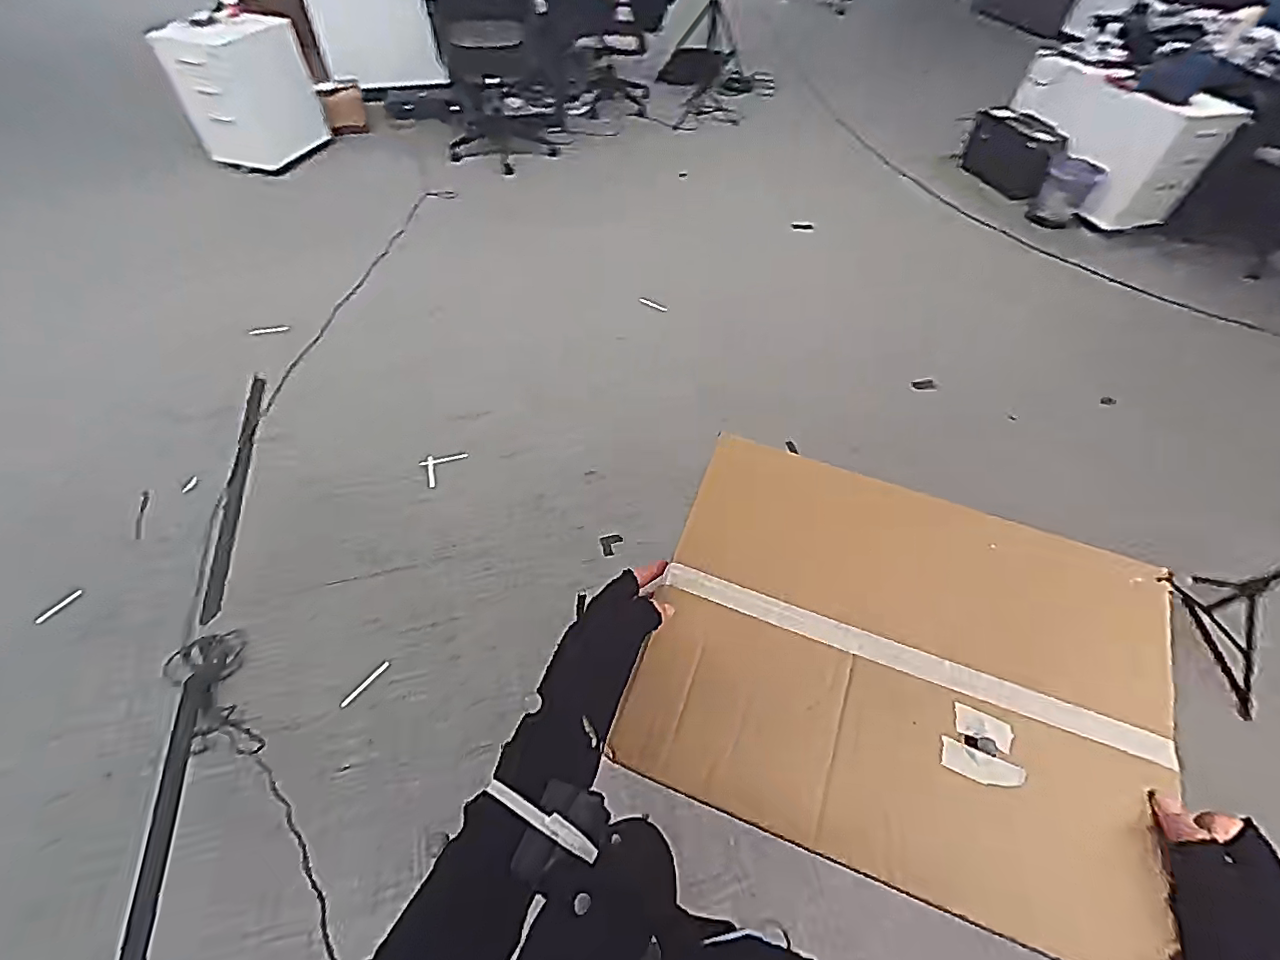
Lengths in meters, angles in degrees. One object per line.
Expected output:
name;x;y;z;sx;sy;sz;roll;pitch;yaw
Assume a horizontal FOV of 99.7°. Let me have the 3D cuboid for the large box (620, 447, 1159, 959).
large box;0.220;0.216;0.593;0.408;0.320;0.320;19;67;10
